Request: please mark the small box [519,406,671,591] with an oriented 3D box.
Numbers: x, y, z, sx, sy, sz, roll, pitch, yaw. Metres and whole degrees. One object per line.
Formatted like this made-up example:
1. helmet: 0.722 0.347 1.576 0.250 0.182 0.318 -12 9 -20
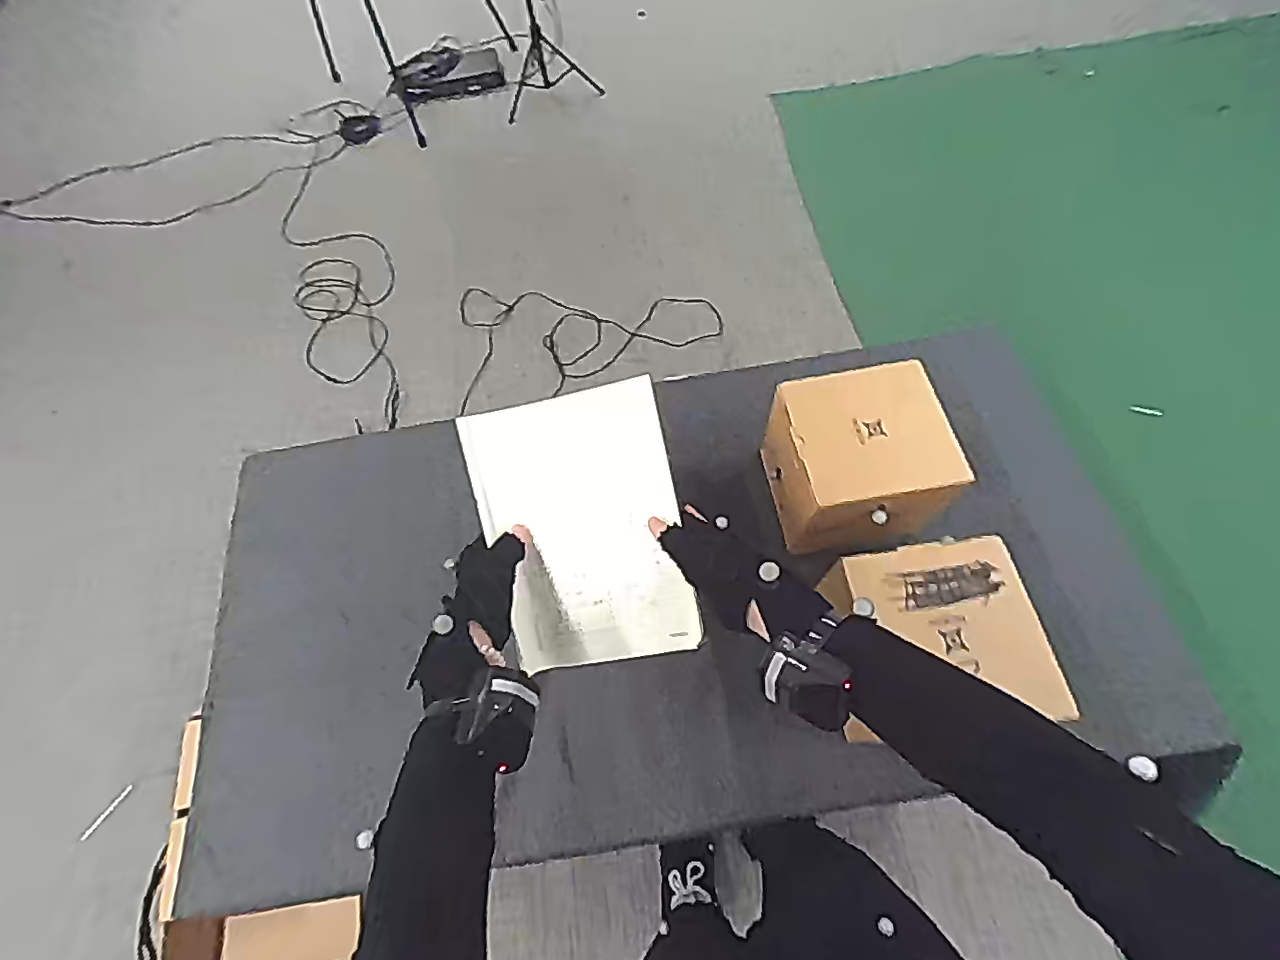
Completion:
1. small box: -0.052 0.030 0.697 0.168 0.176 0.179 -7 64 3
